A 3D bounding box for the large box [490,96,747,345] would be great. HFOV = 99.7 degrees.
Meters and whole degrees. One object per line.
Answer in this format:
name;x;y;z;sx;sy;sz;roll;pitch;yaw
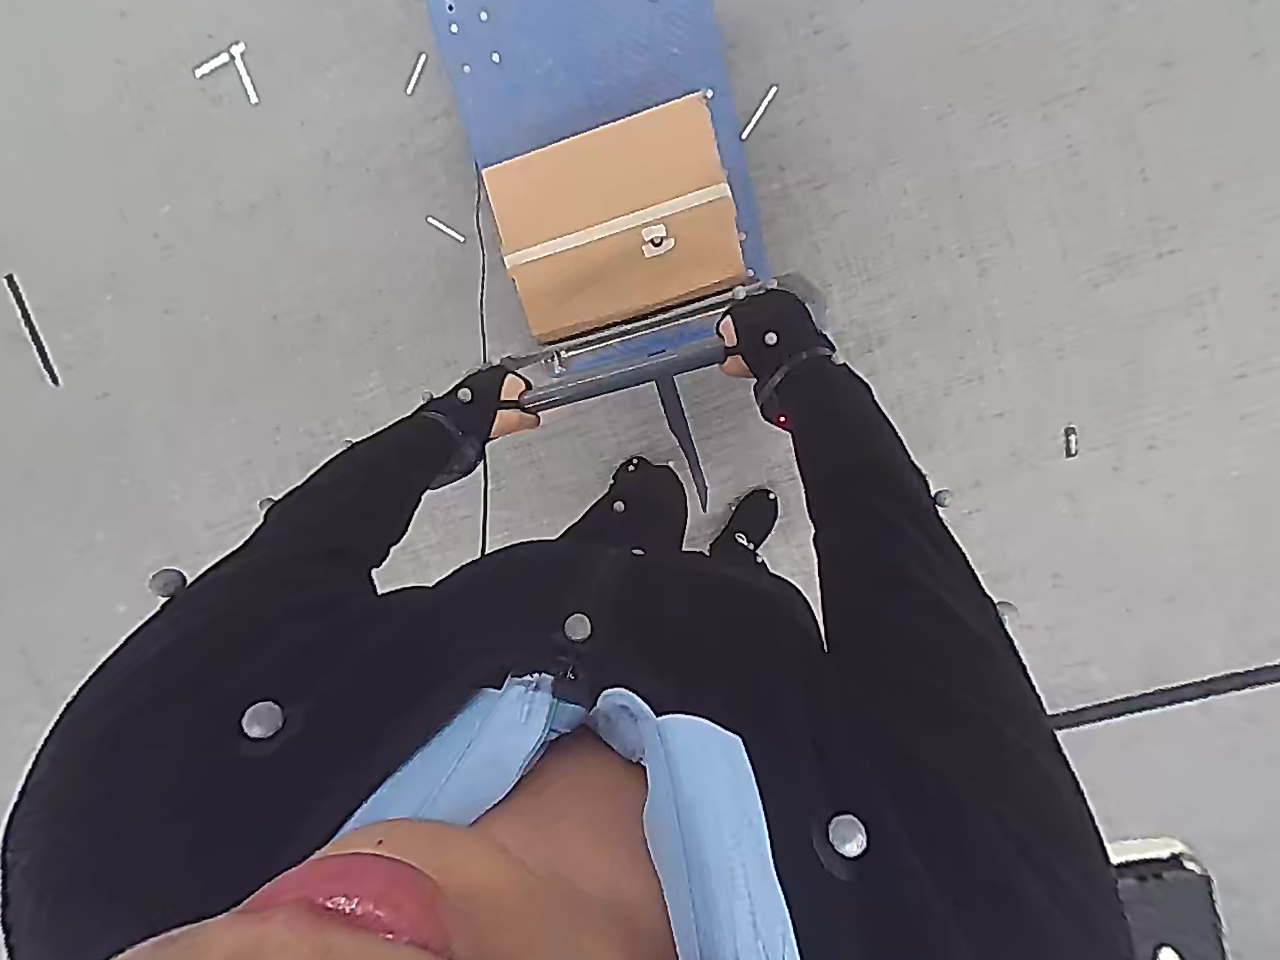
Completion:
large box;-0.027;-0.486;1.108;0.408;0.320;0.320;-15;103;8
